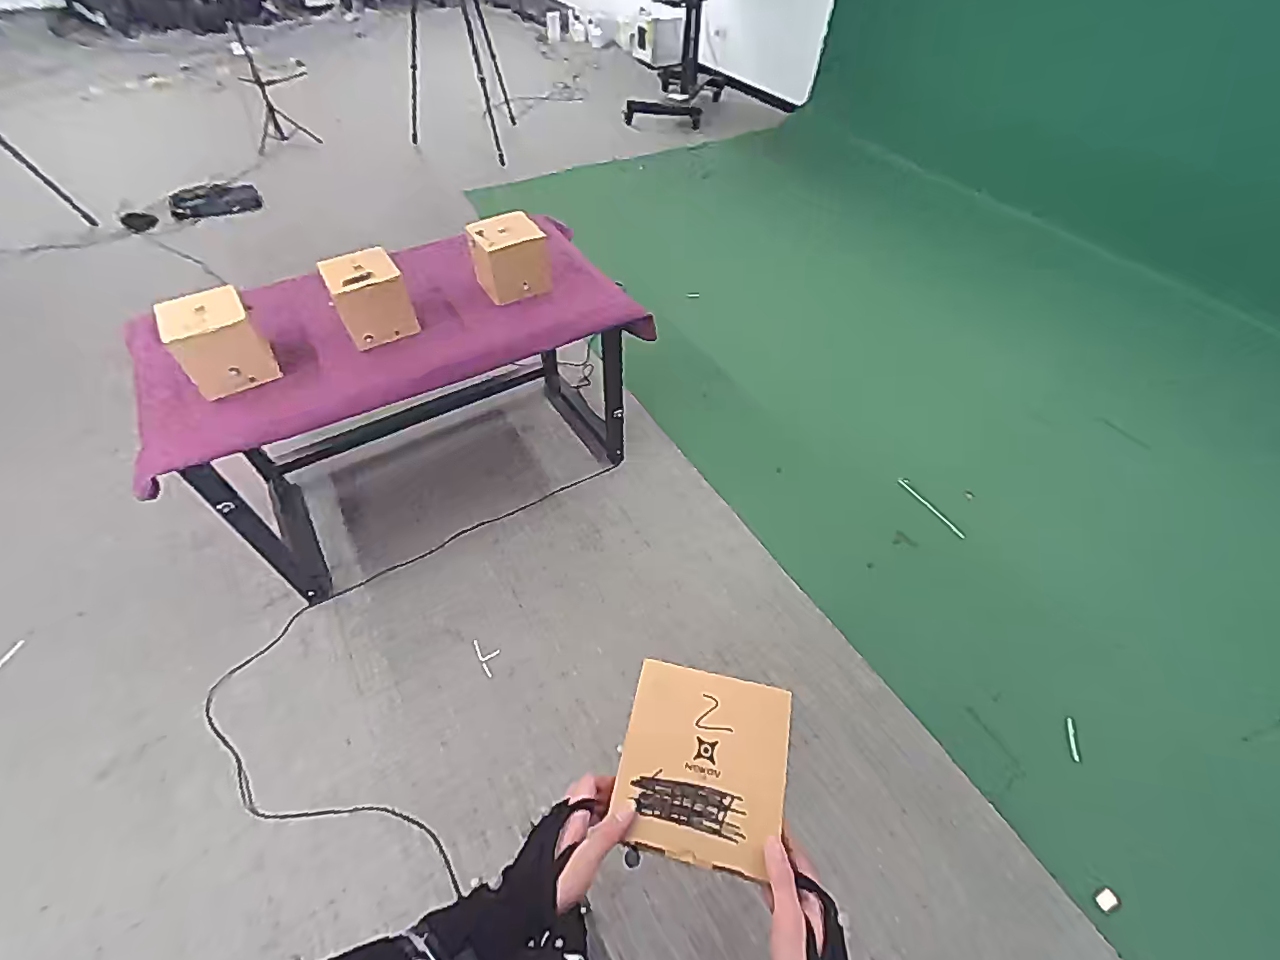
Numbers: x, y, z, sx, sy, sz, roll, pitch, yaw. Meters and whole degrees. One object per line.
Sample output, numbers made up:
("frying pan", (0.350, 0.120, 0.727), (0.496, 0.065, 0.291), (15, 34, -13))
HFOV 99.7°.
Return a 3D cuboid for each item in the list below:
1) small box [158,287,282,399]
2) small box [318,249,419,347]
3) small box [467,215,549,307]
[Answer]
("small box", (-0.988, -0.323, 1.281), (0.168, 0.176, 0.179), (-28, 56, -22))
("small box", (-0.701, -0.468, 1.410), (0.168, 0.176, 0.179), (-26, 55, -21))
("small box", (-0.371, -0.626, 1.548), (0.179, 0.176, 0.168), (-25, 55, -20))
